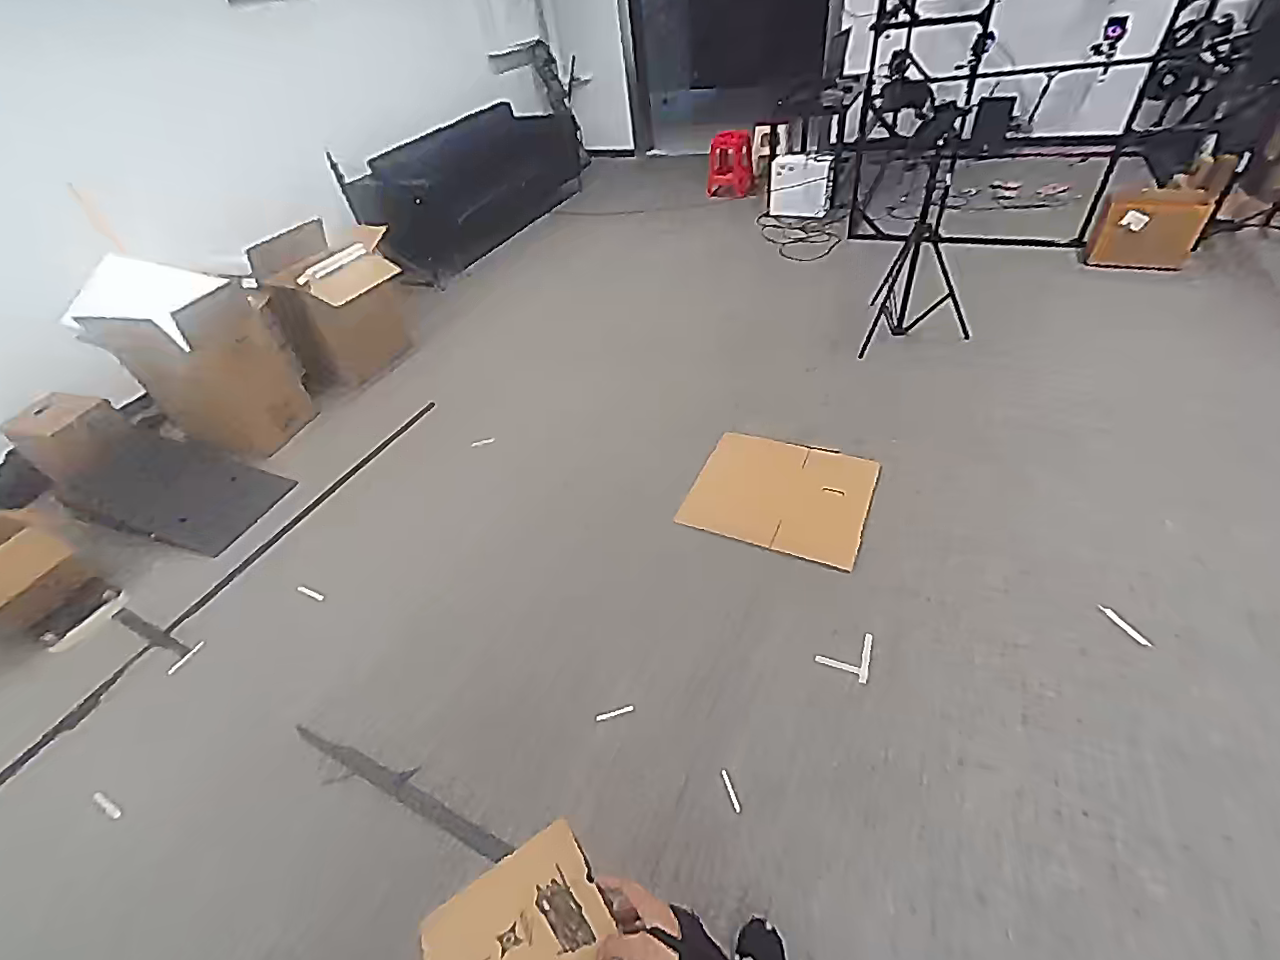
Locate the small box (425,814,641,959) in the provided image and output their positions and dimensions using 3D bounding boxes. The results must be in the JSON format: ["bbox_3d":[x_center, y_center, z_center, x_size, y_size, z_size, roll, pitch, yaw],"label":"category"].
[{"bbox_3d":[-0.097,0.511,0.563,0.179,0.176,0.168,-26,24,-21],"label":"small box"}]
